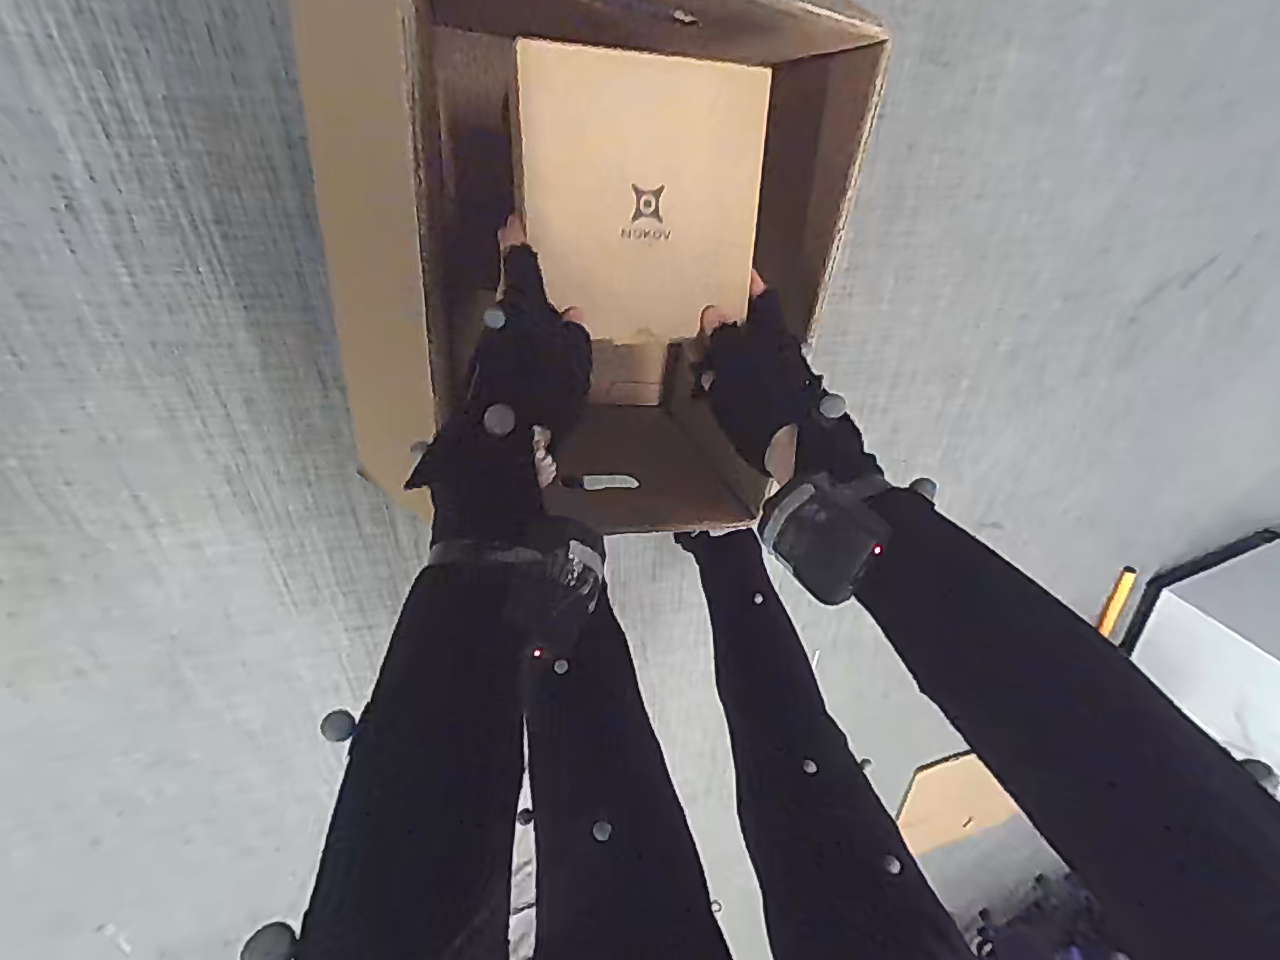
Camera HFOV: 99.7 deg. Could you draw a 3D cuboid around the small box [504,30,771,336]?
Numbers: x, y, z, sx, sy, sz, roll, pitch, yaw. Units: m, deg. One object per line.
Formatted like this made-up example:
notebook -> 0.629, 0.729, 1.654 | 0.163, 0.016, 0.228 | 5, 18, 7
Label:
small box -> -0.016, -0.217, 0.436 | 0.168, 0.176, 0.179 | -5, 115, -16
